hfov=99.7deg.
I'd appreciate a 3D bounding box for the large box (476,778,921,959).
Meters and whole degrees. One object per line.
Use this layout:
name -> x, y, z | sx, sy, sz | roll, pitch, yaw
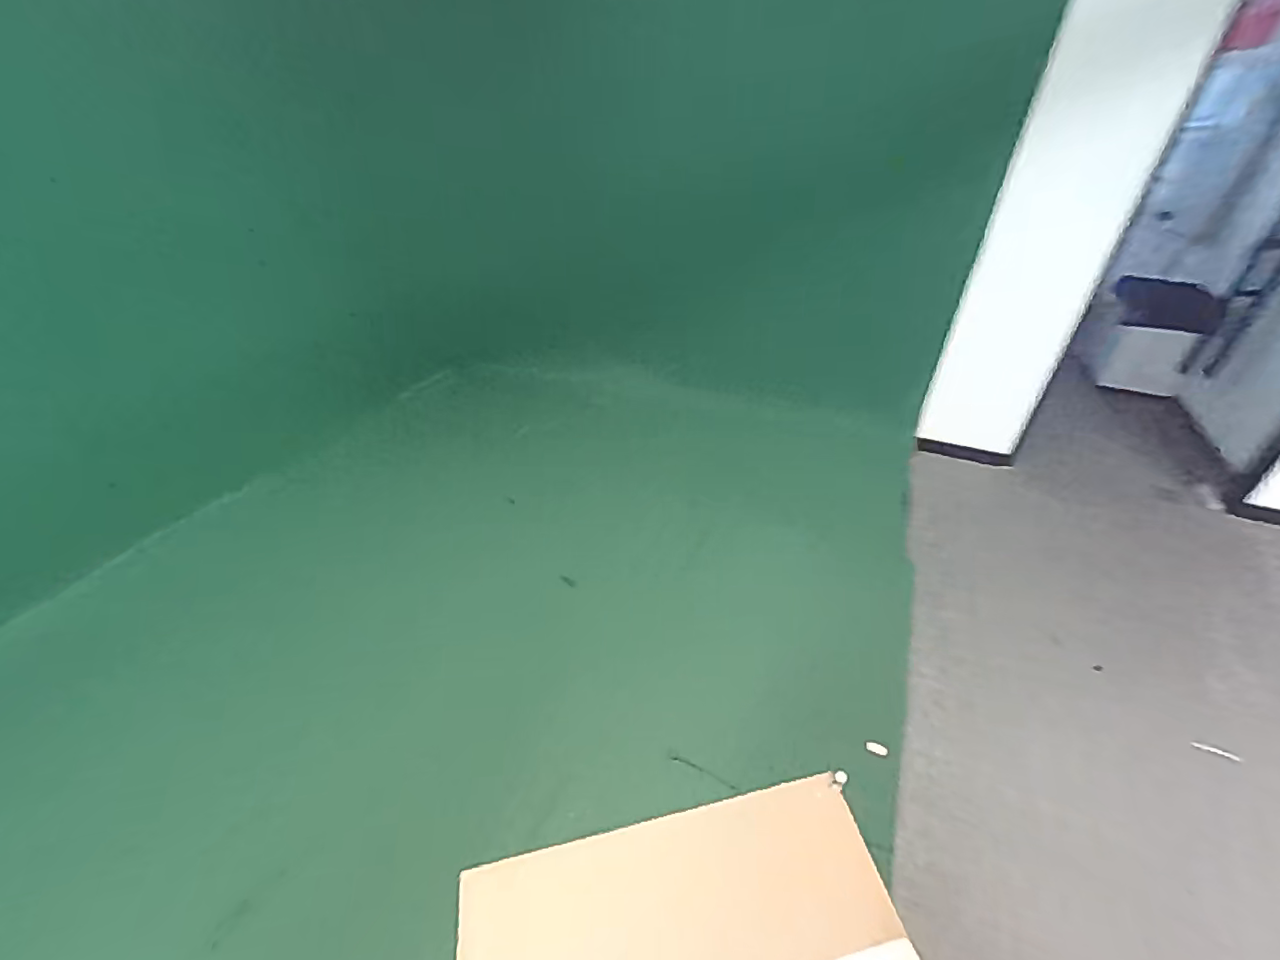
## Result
large box -> 0.067, 0.578, 0.559 | 0.408, 0.320, 0.320 | -11, 41, -7
